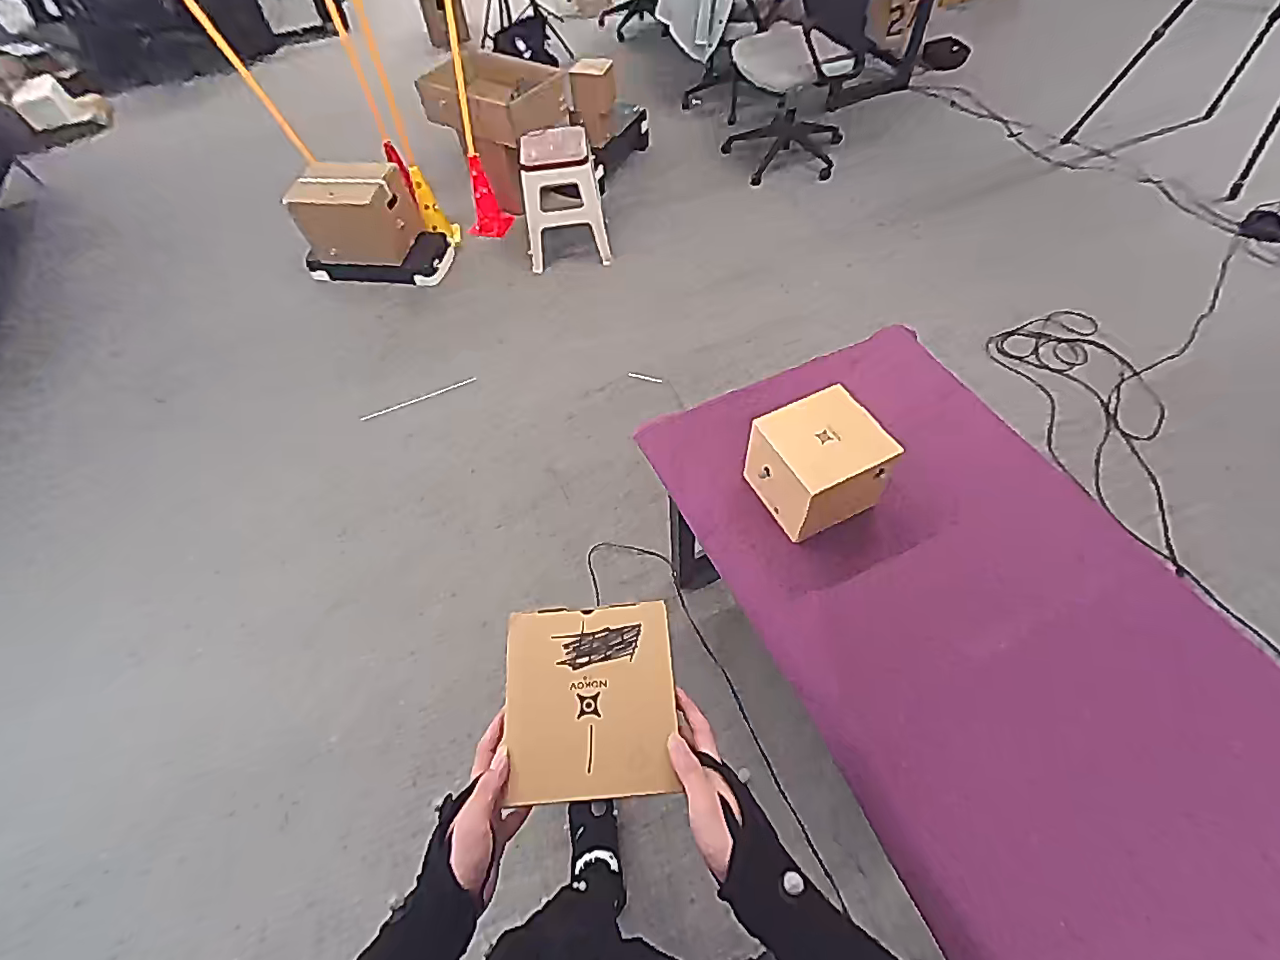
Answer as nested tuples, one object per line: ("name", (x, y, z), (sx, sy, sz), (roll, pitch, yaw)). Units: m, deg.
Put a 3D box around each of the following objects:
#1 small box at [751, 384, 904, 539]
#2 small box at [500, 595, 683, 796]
("small box", (0.303, -0.026, 0.923), (0.179, 0.176, 0.168), (-24, 58, -12))
("small box", (-0.045, 0.238, 0.590), (0.168, 0.176, 0.179), (-4, 62, 0))
